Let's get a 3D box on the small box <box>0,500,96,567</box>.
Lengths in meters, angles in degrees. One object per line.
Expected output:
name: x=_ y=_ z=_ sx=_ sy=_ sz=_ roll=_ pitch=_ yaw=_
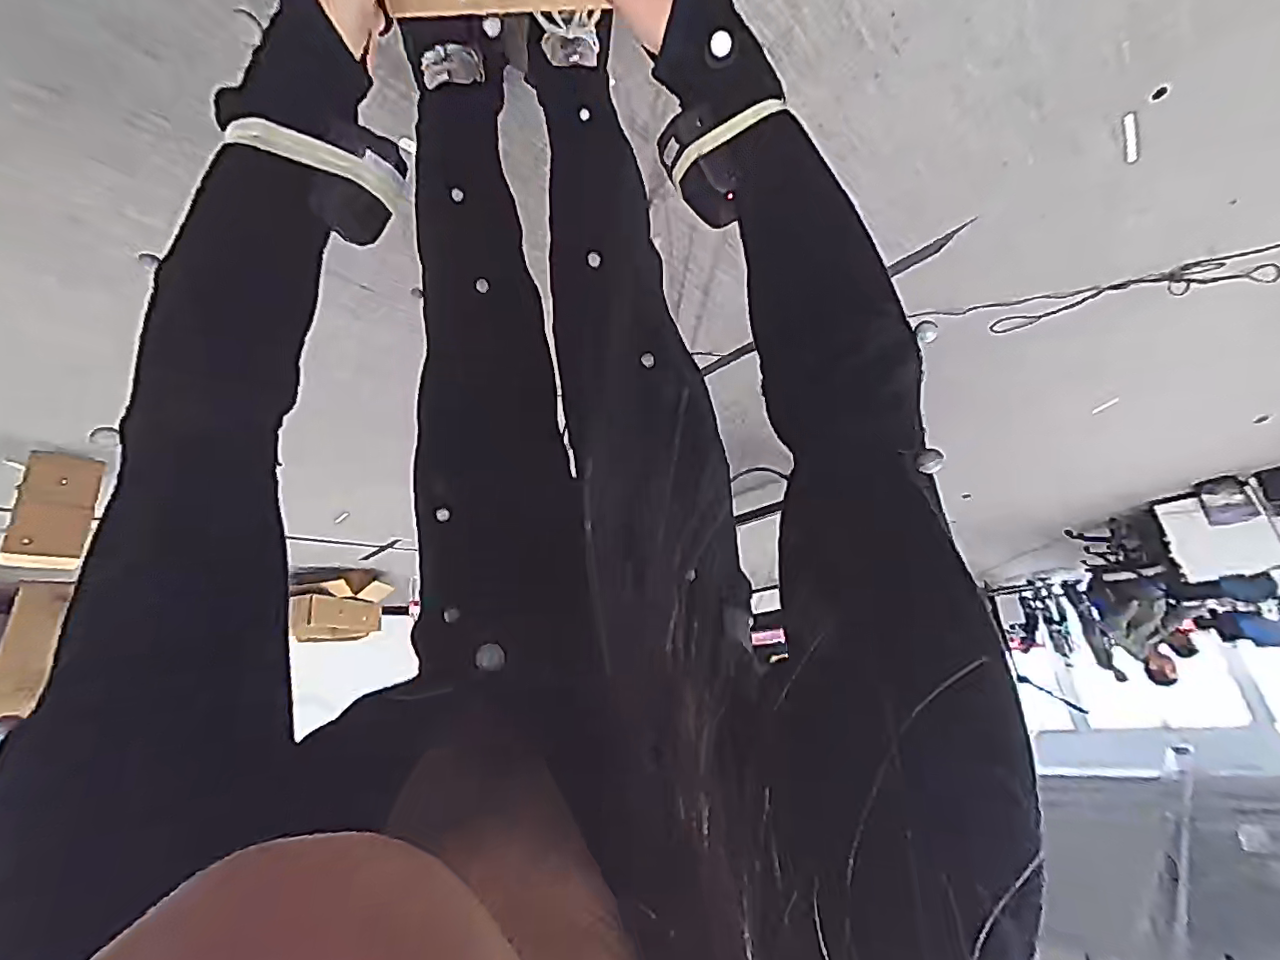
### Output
small box: x=-1.875 y=0.170 z=1.710 sx=0.168 sy=0.176 sz=0.179 roll=-21 pitch=156 yaw=36

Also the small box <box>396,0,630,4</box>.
small box: x=-0.095 y=-0.438 z=0.352 sx=0.168 sy=0.176 sz=0.179 roll=-6 pitch=139 yaw=-5
